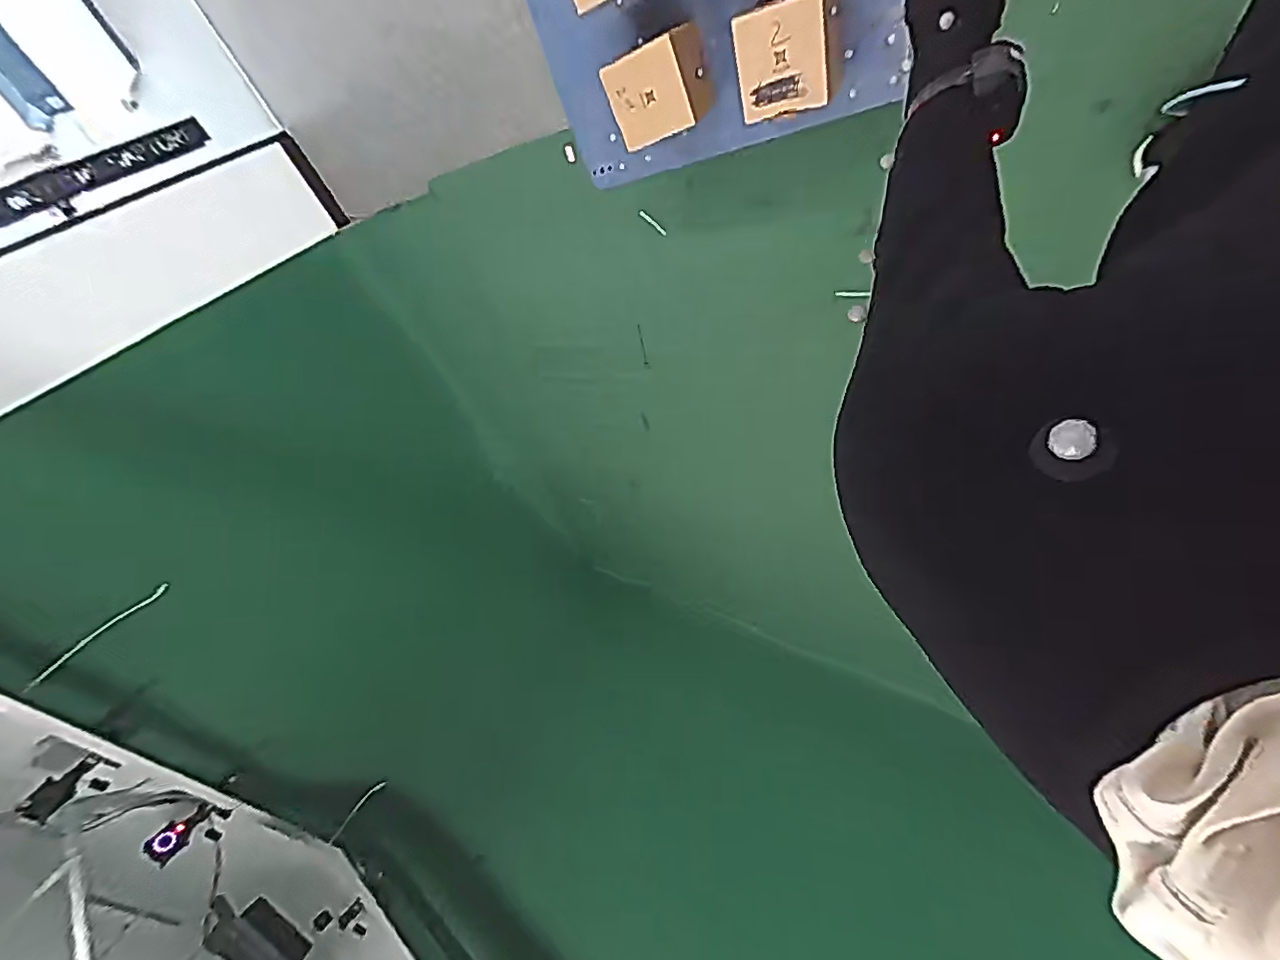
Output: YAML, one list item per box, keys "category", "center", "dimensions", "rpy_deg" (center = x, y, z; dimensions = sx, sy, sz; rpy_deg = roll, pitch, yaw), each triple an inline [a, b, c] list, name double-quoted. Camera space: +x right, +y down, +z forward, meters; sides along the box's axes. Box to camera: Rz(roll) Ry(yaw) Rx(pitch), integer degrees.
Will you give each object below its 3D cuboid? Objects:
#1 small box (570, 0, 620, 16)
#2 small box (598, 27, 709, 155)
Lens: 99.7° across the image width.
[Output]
- category: "small box"
  center: [-0.055, -1.047, 1.048]
  dimensions: [0.179, 0.176, 0.168]
  rpy_deg: [-1, 134, 31]
- category: "small box"
  center: [0.041, -0.862, 1.198]
  dimensions: [0.179, 0.176, 0.168]
  rpy_deg: [-2, 132, 33]
